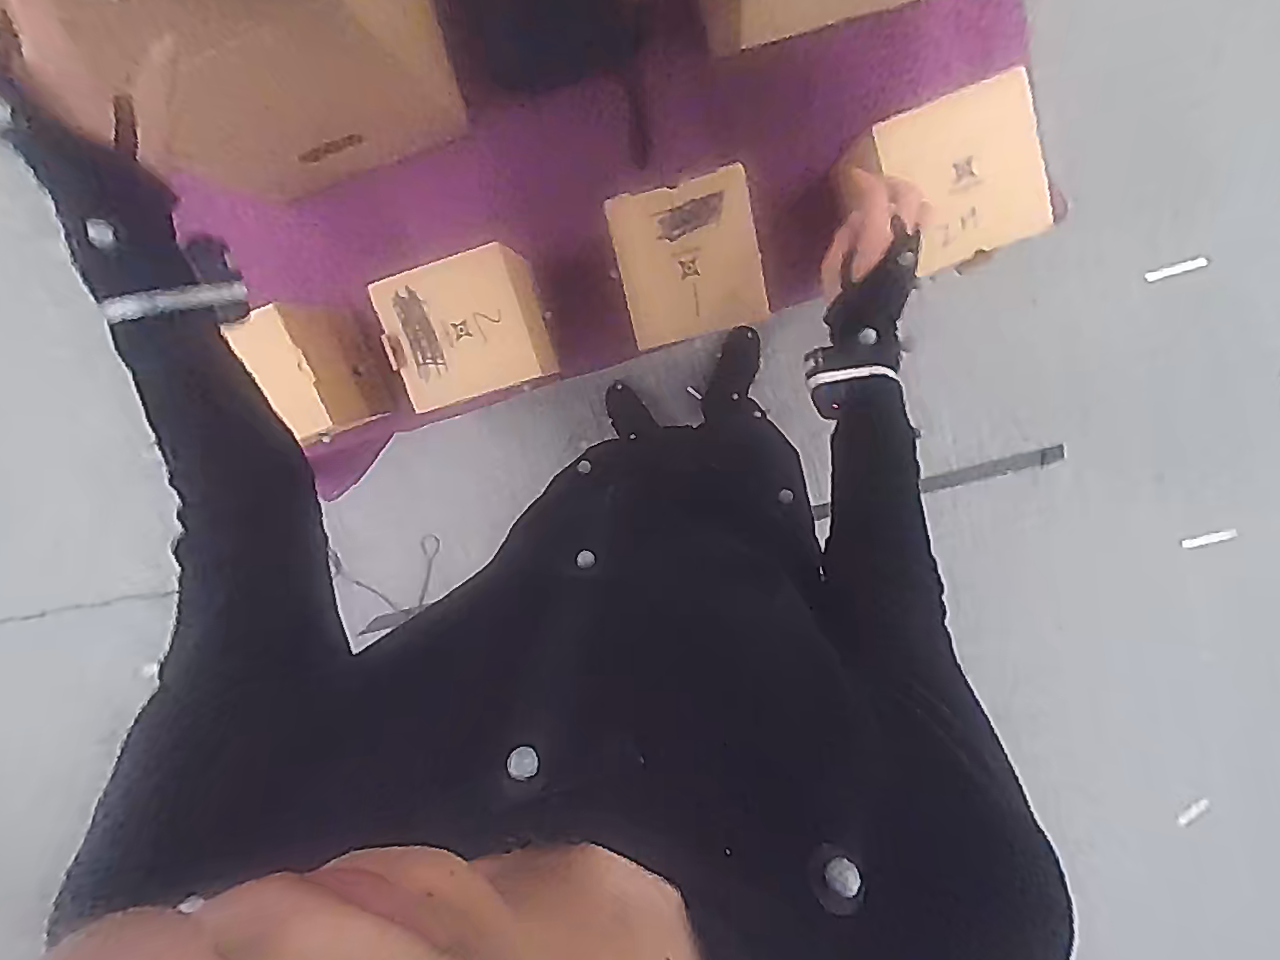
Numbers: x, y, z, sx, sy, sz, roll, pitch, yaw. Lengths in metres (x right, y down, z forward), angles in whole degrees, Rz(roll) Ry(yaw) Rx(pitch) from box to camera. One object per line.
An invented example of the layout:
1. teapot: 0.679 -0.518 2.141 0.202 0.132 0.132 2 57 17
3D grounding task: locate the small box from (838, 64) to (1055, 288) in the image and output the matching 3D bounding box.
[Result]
1. small box: 0.366 -0.358 0.676 0.168 0.176 0.179 -18 103 9

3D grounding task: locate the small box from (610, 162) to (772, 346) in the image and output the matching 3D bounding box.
1. small box: 0.064 -0.281 0.712 0.168 0.176 0.179 -12 104 6
